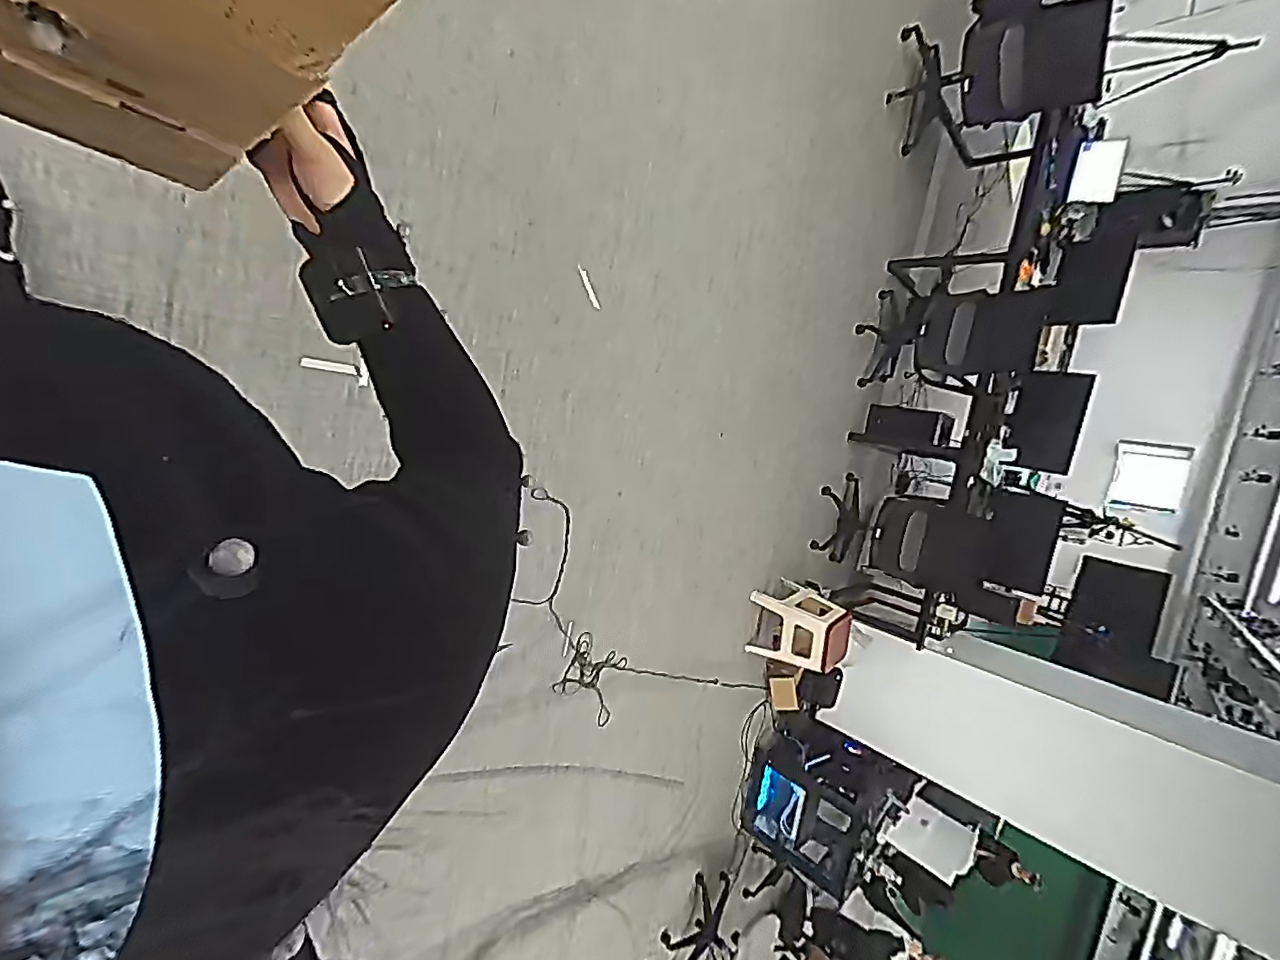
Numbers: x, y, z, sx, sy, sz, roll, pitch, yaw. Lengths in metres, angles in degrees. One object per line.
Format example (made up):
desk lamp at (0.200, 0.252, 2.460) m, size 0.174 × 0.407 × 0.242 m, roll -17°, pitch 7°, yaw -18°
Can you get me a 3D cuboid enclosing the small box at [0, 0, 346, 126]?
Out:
small box at (-0.228, -0.293, 0.232) m, size 0.168 × 0.176 × 0.179 m, roll 6°, pitch 98°, yaw -49°
